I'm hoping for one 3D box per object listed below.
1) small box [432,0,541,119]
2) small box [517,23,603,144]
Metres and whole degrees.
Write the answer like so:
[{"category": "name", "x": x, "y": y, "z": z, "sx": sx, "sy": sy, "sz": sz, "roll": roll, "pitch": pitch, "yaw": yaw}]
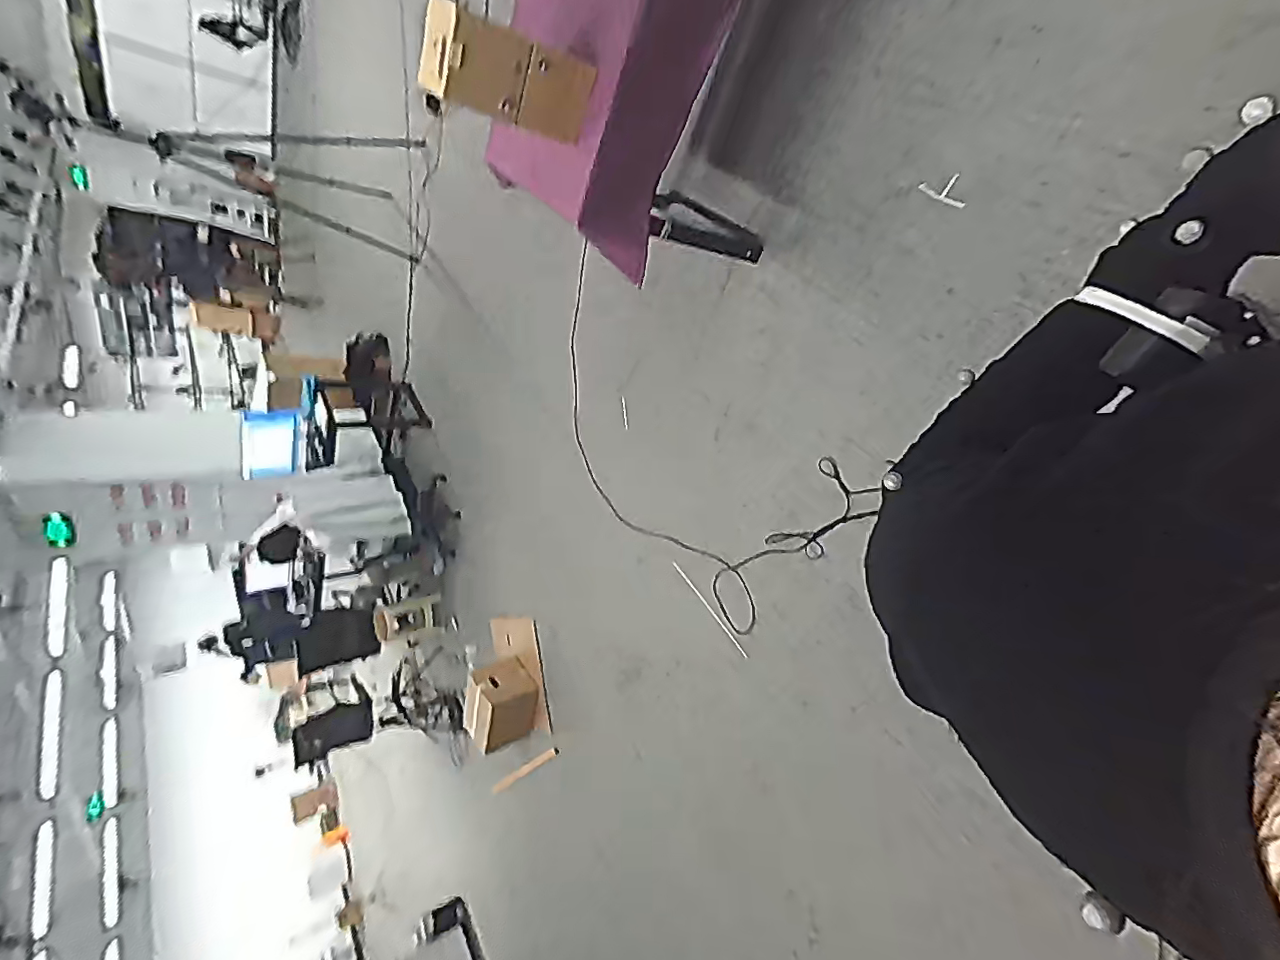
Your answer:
[{"category": "small box", "x": -0.340, "y": -0.932, "z": 1.196, "sx": 0.179, "sy": 0.176, "sz": 0.168, "roll": 52, "pitch": 130, "yaw": 35}, {"category": "small box", "x": -0.211, "y": -0.943, "z": 1.297, "sx": 0.168, "sy": 0.176, "sz": 0.179, "roll": 51, "pitch": 130, "yaw": 34}]
